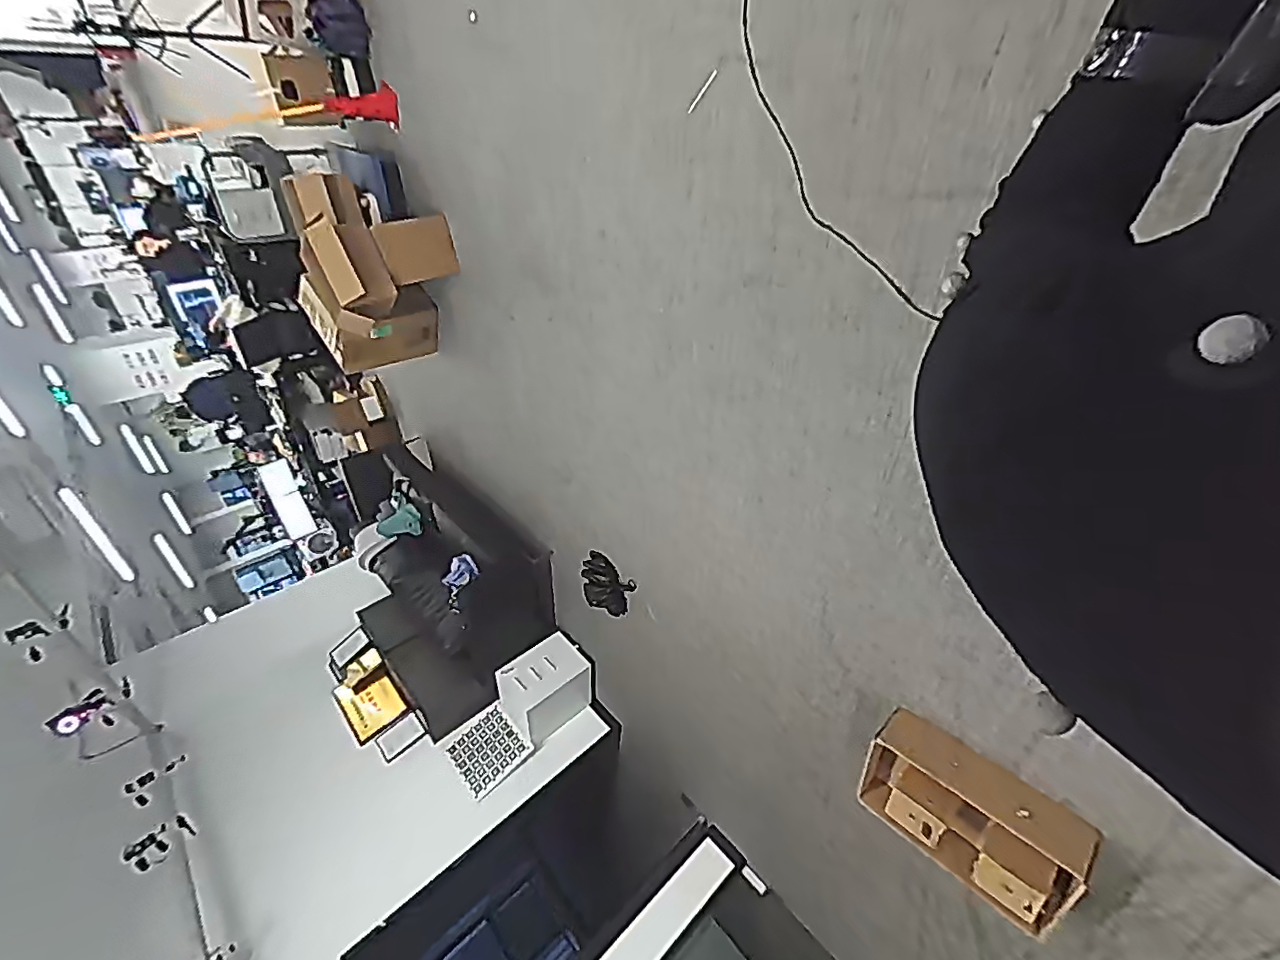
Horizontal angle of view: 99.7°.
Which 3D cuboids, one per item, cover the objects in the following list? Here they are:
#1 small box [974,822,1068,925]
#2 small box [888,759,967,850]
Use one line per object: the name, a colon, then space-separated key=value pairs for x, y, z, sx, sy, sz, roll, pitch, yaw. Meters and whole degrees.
small box: x=1.185 y=1.211 z=1.685 sx=0.179 sy=0.176 sz=0.168 roll=26 pitch=133 yaw=43
small box: x=0.994 y=1.114 z=1.867 sx=0.179 sy=0.176 sz=0.168 roll=28 pitch=133 yaw=38
